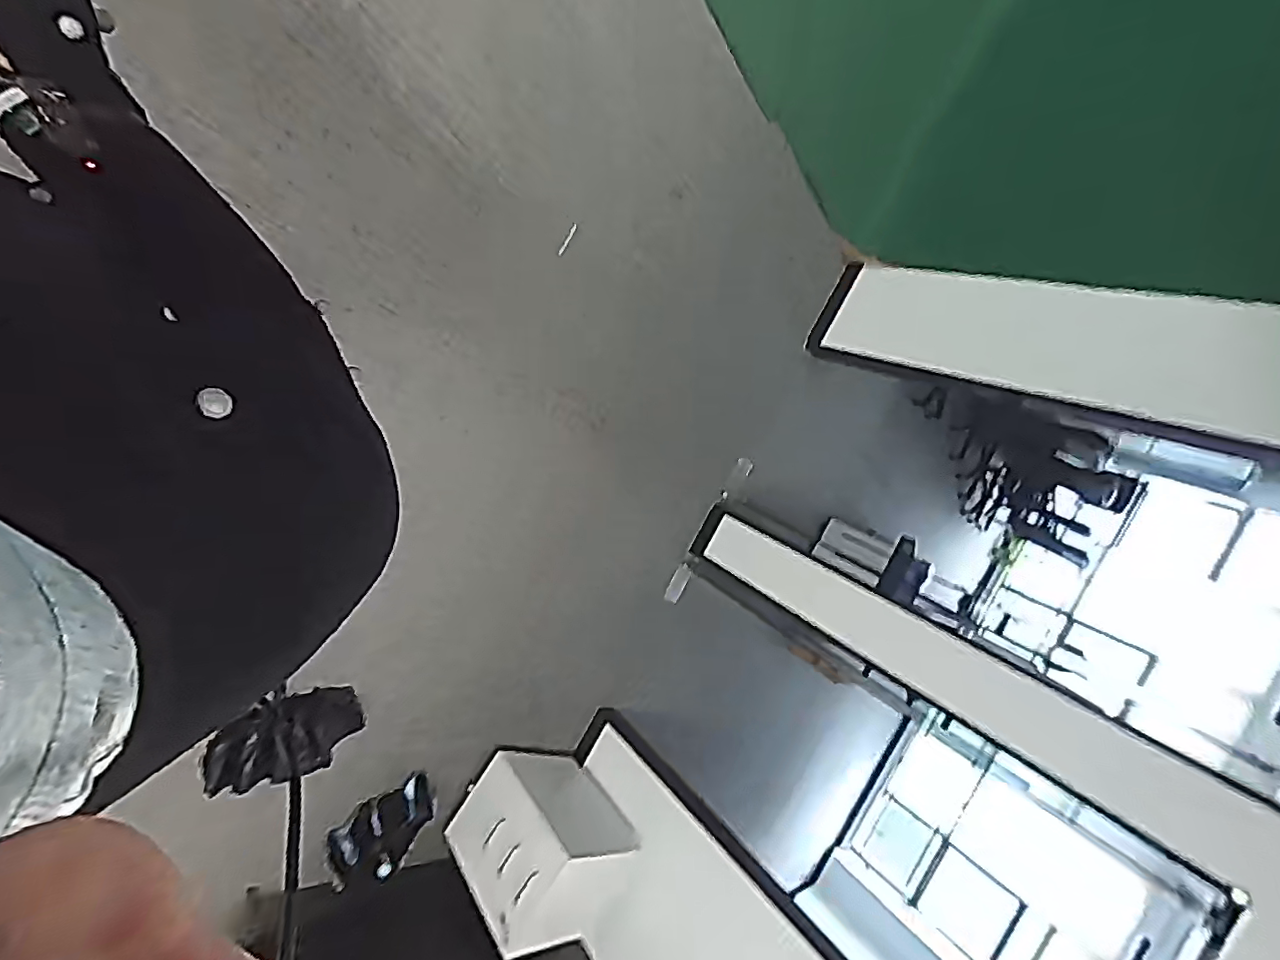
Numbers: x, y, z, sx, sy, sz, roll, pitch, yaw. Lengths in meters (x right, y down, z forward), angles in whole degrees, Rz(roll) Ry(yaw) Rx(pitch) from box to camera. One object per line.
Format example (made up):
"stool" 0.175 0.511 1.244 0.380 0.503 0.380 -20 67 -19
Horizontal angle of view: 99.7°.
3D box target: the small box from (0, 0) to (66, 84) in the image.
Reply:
"small box" -0.583 -0.445 0.404 0.168 0.176 0.179 -15 98 -35
